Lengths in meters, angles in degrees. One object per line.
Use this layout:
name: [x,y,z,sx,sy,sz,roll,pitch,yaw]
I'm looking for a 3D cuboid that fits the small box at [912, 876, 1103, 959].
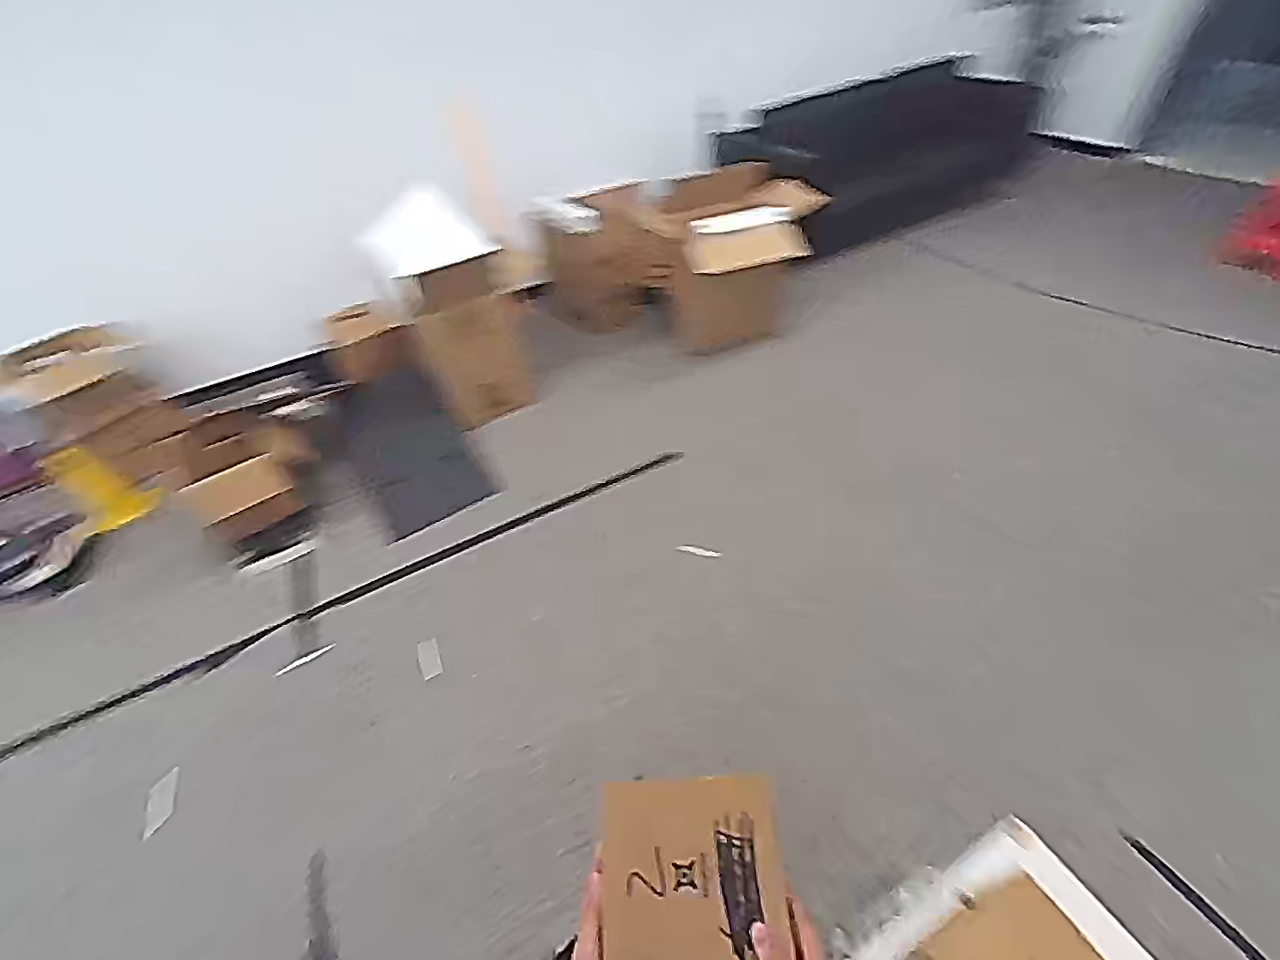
small box: [0.470,0.646,0.675,0.179,0.176,0.168,-23,47,-16]
